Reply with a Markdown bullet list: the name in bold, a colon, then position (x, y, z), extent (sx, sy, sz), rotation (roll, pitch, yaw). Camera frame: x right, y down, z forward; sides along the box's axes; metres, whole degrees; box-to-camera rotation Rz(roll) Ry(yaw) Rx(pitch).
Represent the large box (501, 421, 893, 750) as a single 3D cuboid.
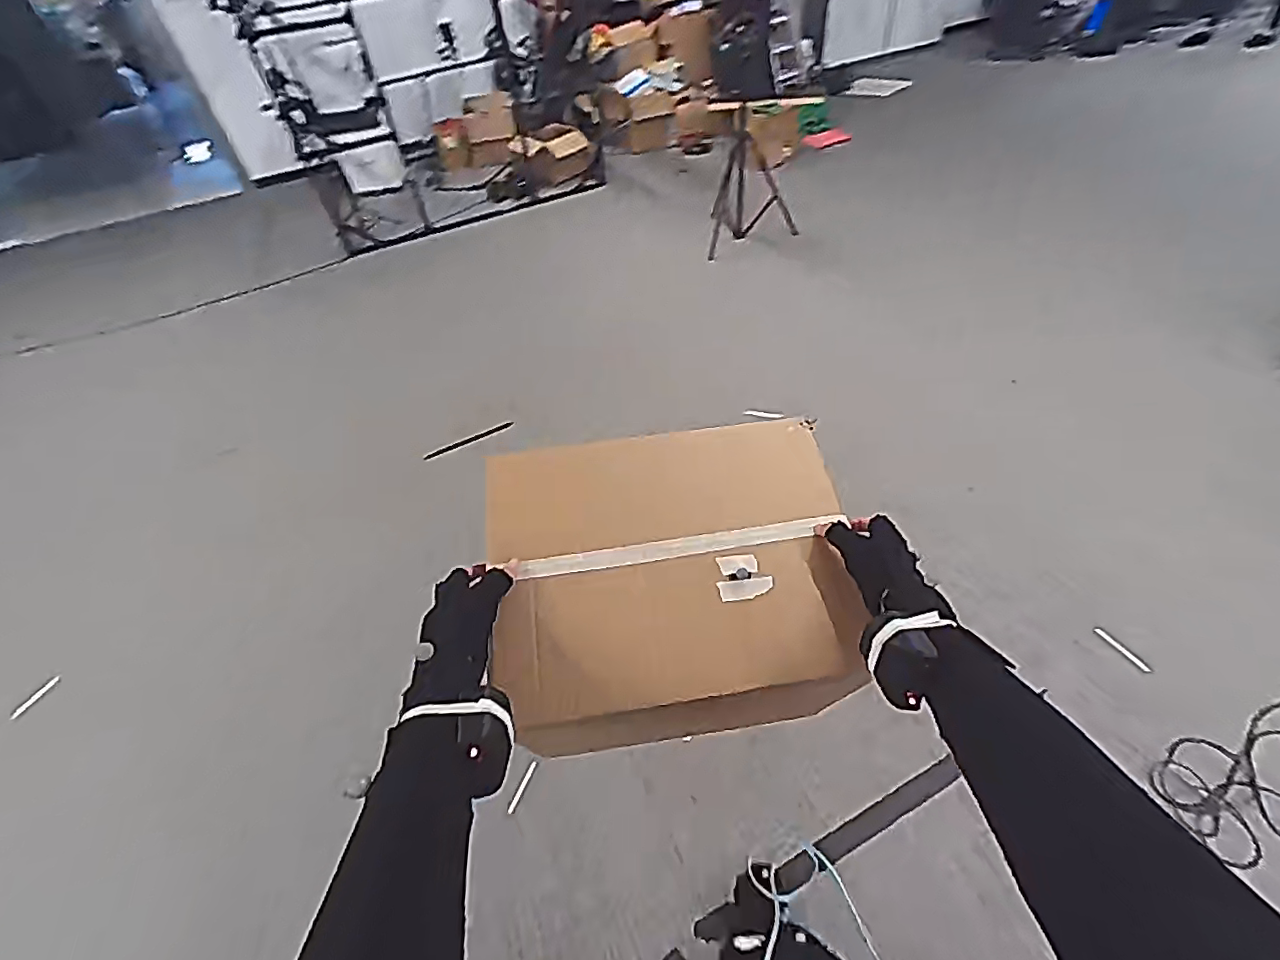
- **large box**: position (0.043, 0.155, 0.742), extent (0.408, 0.320, 0.320), rotation (-7, 59, -4)
